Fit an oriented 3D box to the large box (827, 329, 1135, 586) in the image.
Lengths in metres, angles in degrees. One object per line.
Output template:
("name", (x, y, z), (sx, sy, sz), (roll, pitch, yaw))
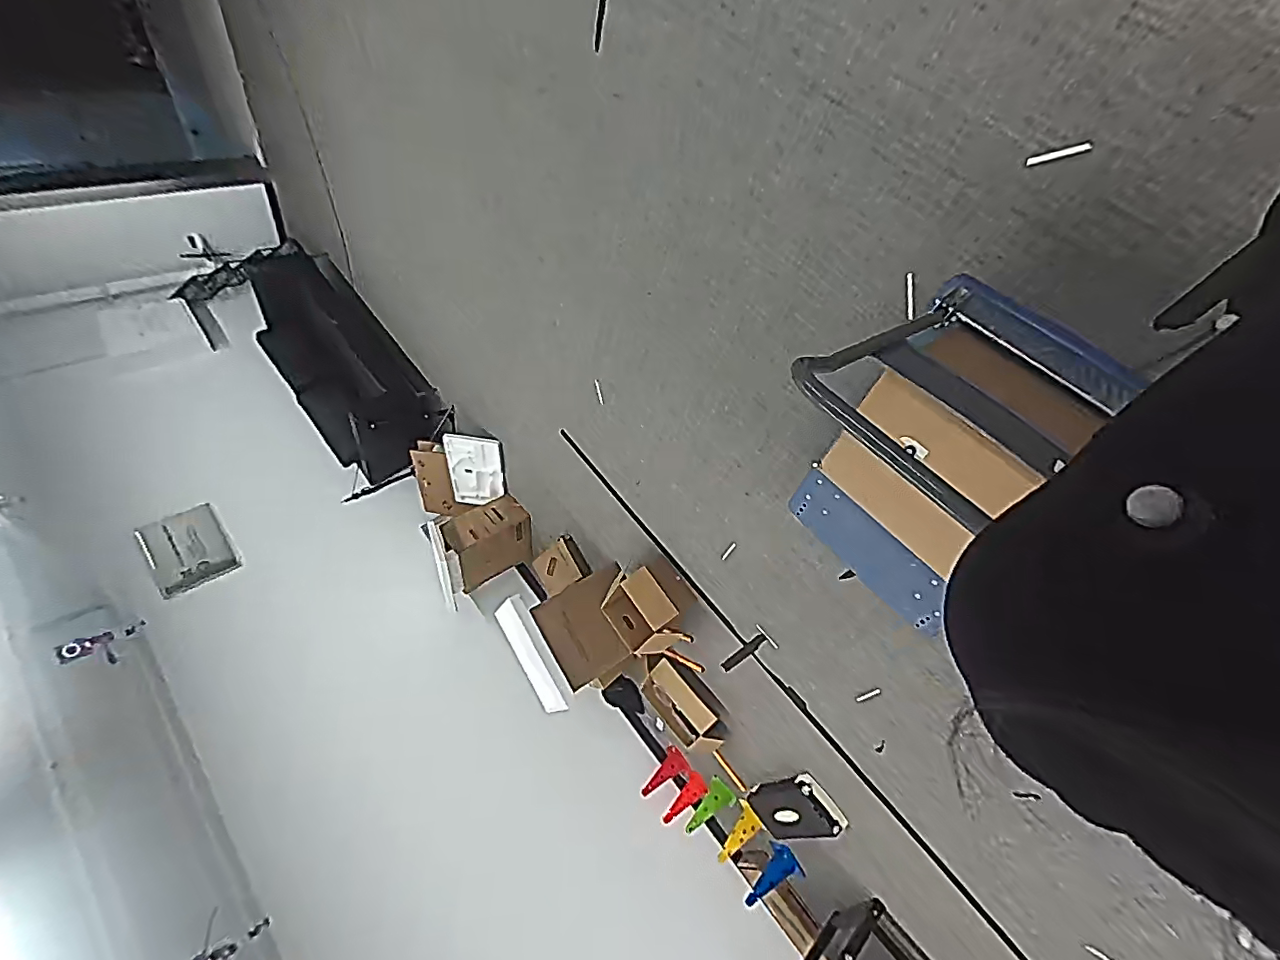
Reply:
("large box", (0.707, -0.059, 1.166), (0.408, 0.320, 0.320), (47, 144, 23))
